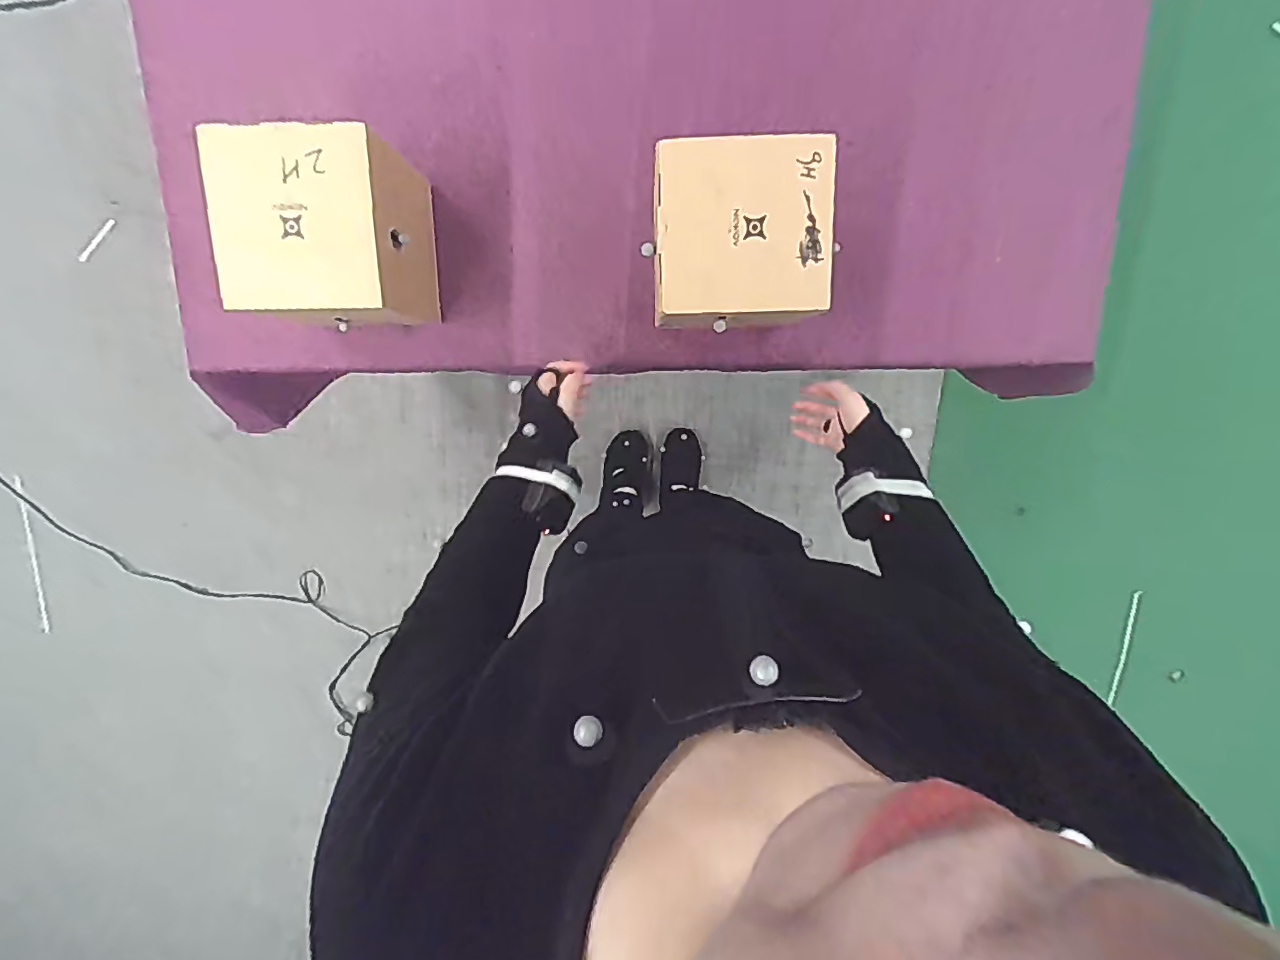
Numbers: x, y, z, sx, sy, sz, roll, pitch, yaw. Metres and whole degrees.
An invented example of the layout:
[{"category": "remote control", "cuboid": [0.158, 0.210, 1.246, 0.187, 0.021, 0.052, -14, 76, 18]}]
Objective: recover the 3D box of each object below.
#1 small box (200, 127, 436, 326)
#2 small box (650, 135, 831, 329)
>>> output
[{"category": "small box", "cuboid": [-0.345, -0.271, 0.618, 0.168, 0.176, 0.179, 0, 100, 0]}, {"category": "small box", "cuboid": [0.102, -0.265, 0.615, 0.179, 0.176, 0.168, -1, 101, 2]}]
